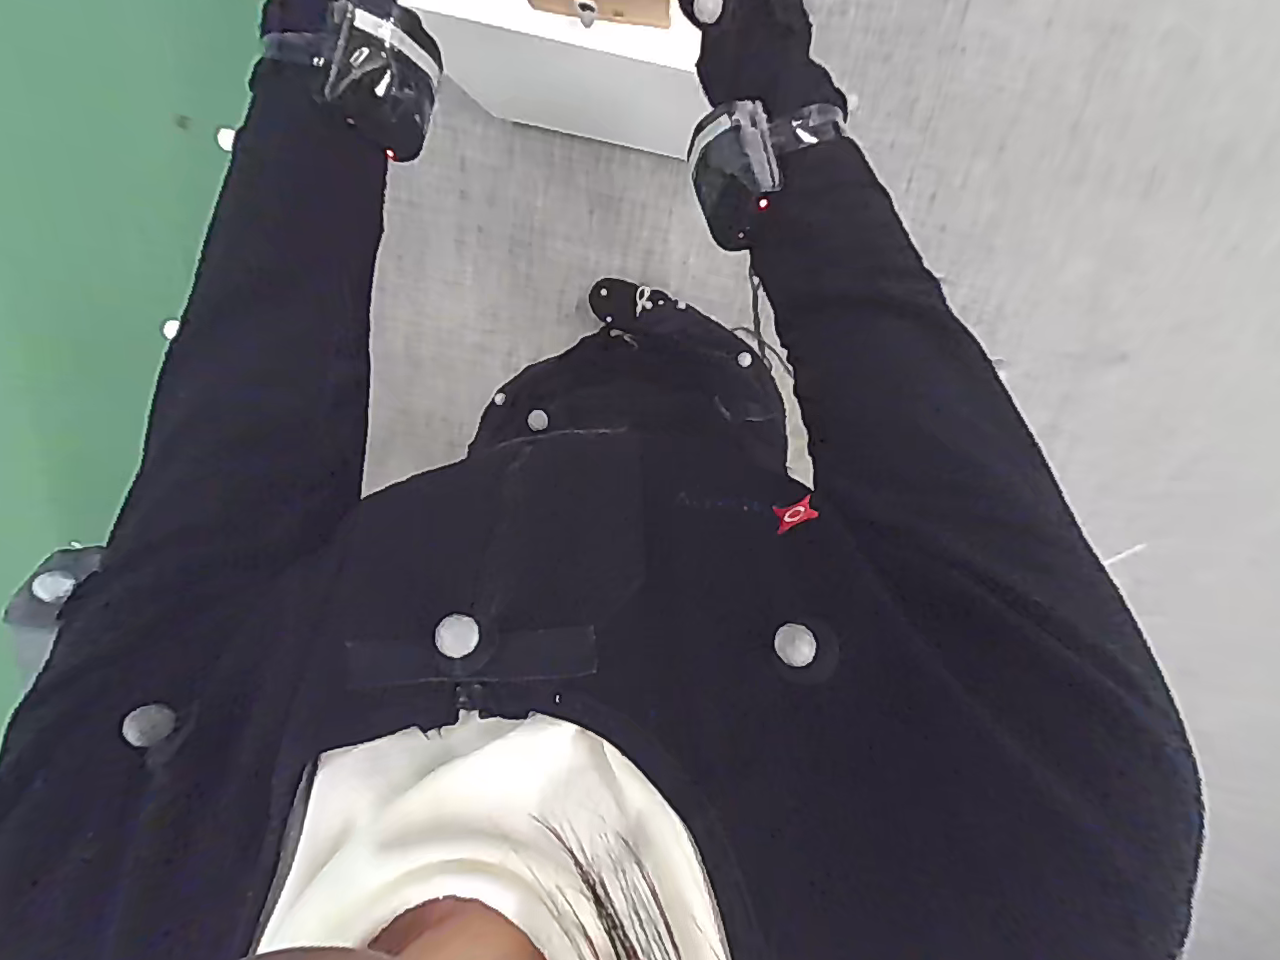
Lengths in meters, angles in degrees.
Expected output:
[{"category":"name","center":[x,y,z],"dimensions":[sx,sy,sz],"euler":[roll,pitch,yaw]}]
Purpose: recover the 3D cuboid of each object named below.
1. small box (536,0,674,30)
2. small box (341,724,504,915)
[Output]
[{"category":"small box","center":[-0.040,-0.584,0.524],"dimensions":[0.168,0.176,0.179],"euler":[7,112,2]},{"category":"small box","center":[-0.316,0.499,0.812],"dimensions":[0.179,0.176,0.168],"euler":[13,112,-2]}]
